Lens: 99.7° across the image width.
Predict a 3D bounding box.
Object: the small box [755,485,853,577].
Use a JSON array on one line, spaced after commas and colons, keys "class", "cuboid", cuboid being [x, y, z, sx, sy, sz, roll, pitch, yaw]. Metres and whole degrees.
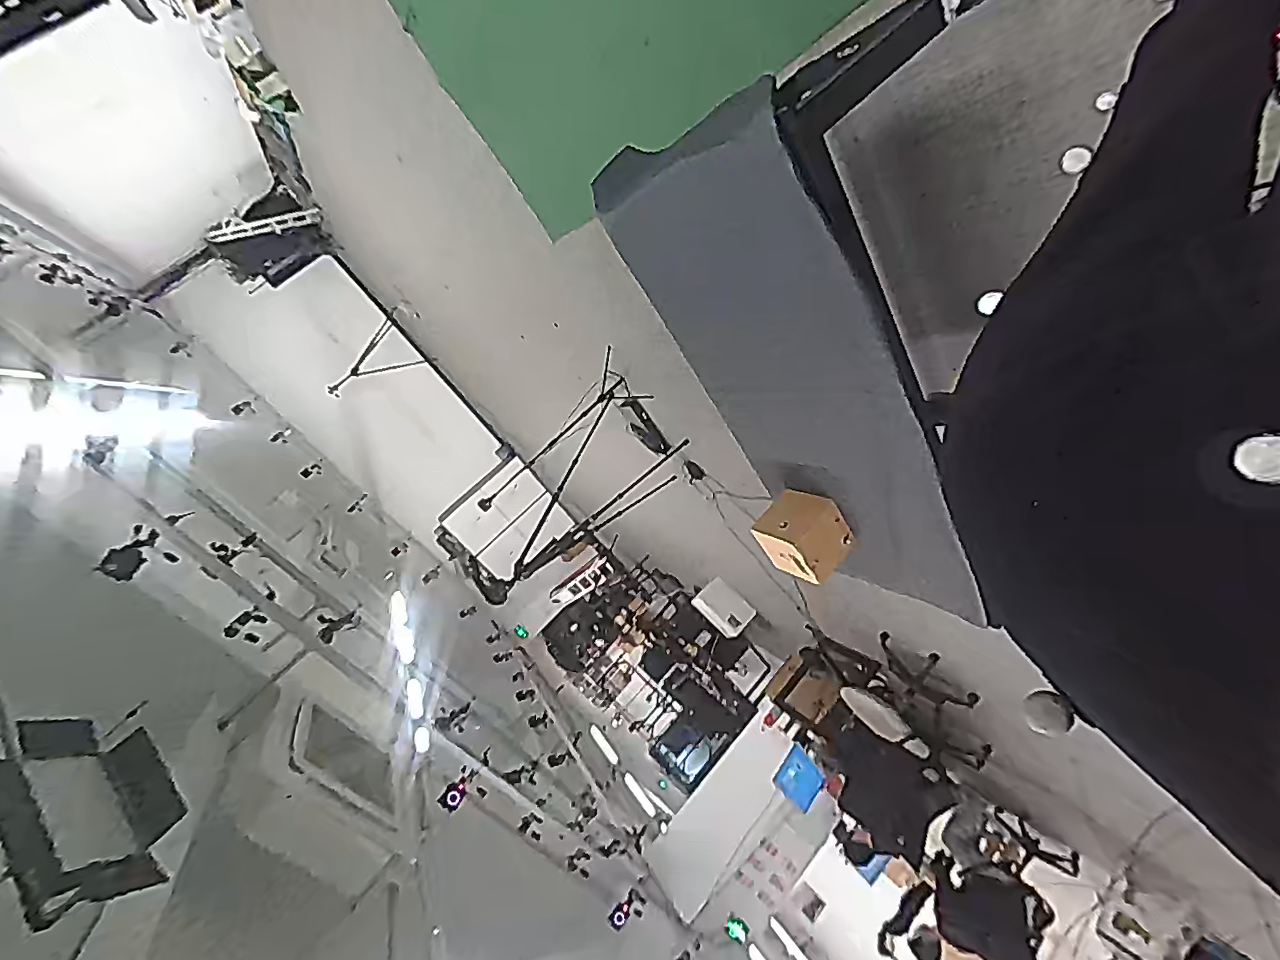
[{"class": "small box", "cuboid": [0.458, 0.133, 1.488, 0.168, 0.176, 0.179, 52, 164, -25]}]
